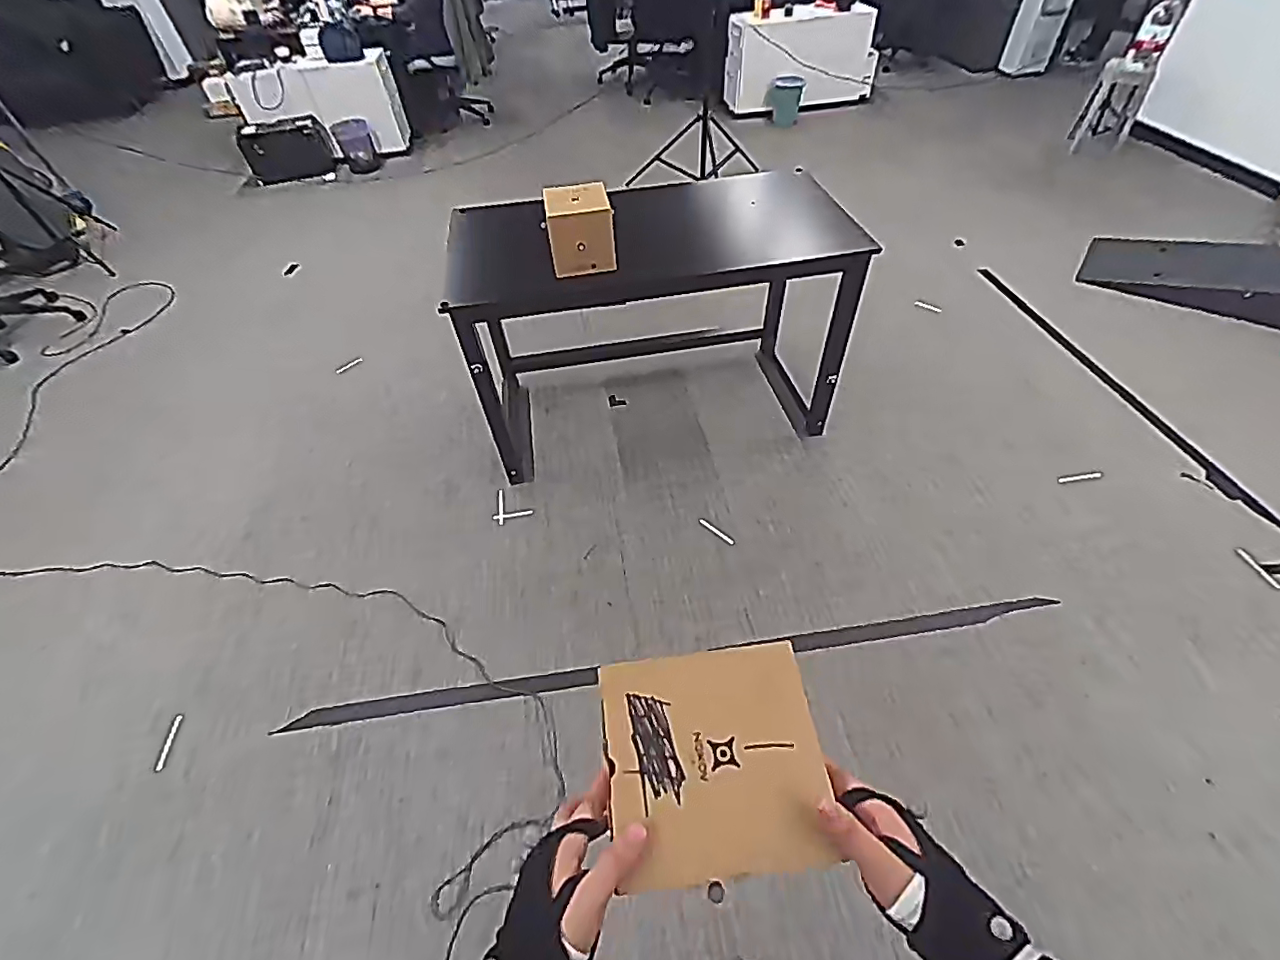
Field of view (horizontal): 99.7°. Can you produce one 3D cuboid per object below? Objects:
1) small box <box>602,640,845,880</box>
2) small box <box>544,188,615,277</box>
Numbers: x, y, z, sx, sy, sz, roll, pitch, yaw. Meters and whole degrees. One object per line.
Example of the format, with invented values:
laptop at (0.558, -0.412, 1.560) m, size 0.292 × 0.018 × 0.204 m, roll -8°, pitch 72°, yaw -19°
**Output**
small box at (0.064, 0.268, 0.510) m, size 0.179 × 0.176 × 0.168 m, roll -6°, pitch 55°, yaw -3°
small box at (-0.164, -0.671, 1.480) m, size 0.168 × 0.176 × 0.179 m, roll -9°, pitch 49°, yaw -5°
